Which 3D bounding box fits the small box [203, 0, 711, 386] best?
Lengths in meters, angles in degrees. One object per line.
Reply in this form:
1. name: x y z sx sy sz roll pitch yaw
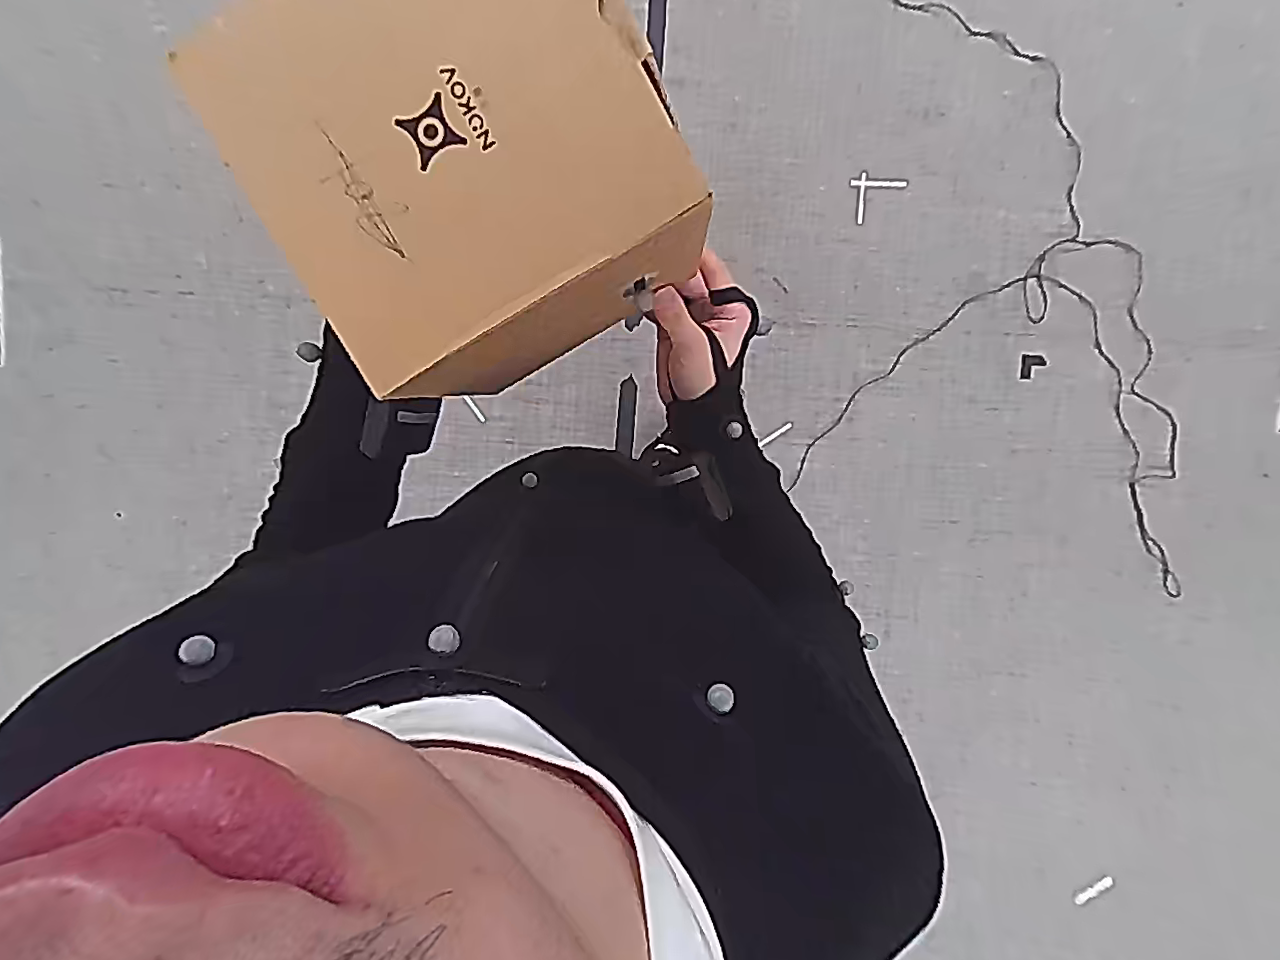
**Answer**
1. small box: -0.077 -0.169 0.317 0.179 0.176 0.168 -29 96 7
